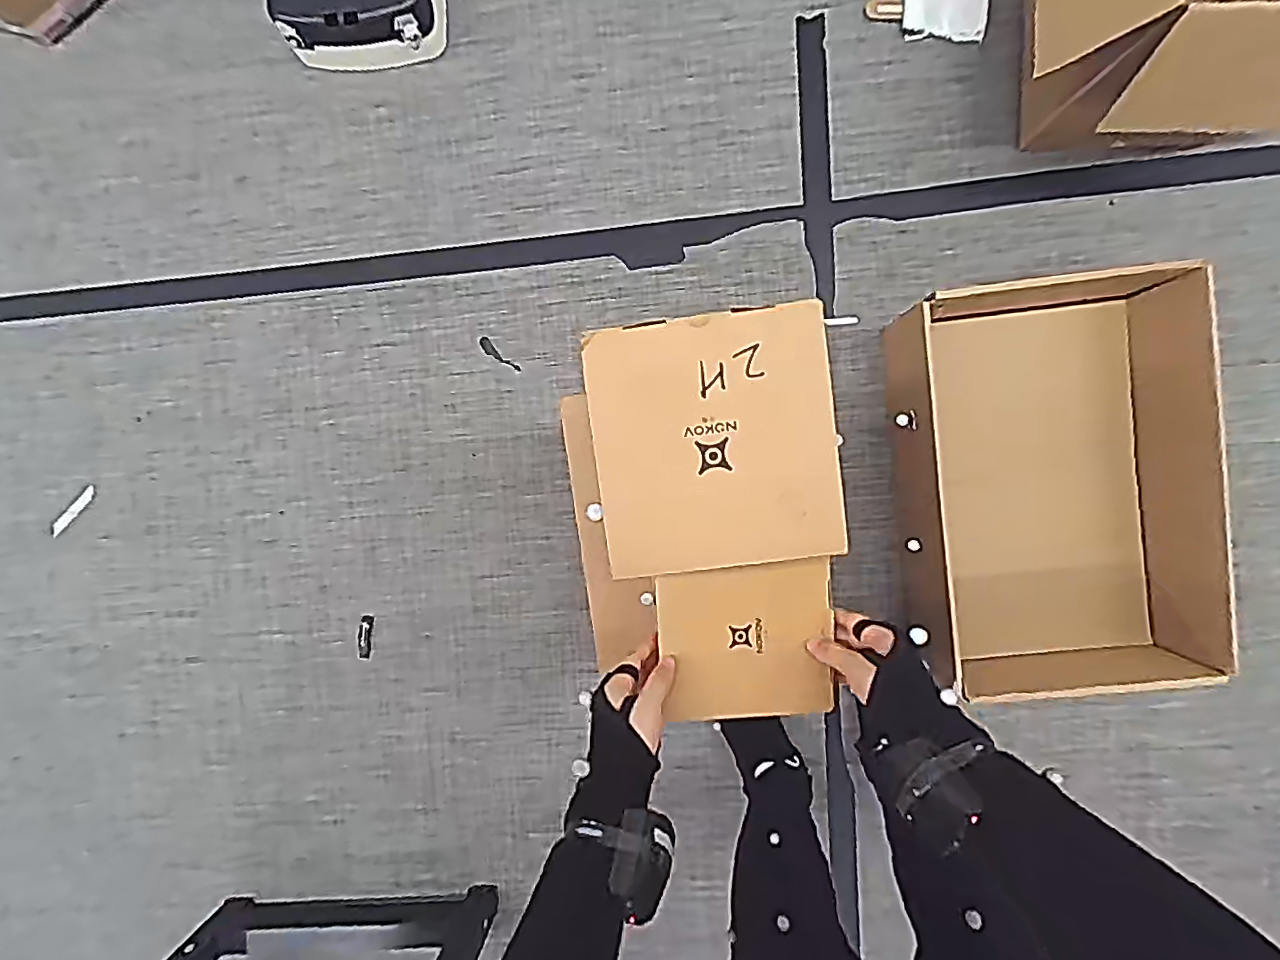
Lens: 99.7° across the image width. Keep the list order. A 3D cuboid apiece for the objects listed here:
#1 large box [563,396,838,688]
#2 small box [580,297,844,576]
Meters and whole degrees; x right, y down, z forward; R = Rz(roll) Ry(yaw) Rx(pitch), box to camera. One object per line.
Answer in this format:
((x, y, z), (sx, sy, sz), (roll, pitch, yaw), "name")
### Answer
((0.087, 0.055, 0.857), (0.320, 0.320, 0.408), (-8, 93, 5), "large box")
((0.054, -0.033, 0.445), (0.168, 0.176, 0.179), (-7, 93, 3), "small box")
